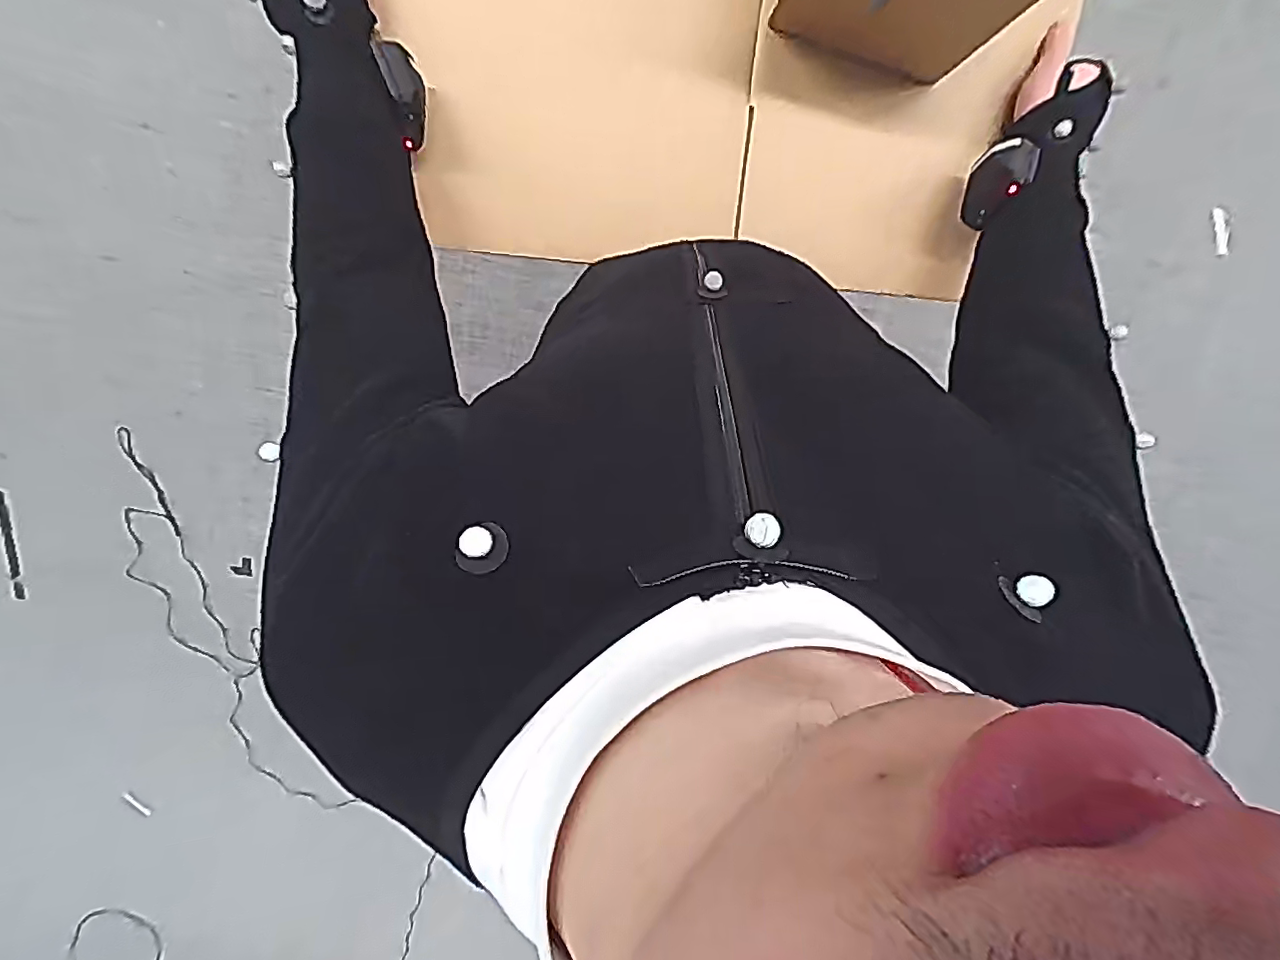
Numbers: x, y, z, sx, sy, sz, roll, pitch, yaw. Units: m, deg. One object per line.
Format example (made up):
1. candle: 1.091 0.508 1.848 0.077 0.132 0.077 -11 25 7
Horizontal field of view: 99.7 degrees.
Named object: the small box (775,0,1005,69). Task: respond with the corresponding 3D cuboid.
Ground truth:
1. small box: 0.223 -0.464 0.419 0.179 0.176 0.168 15 105 -4
